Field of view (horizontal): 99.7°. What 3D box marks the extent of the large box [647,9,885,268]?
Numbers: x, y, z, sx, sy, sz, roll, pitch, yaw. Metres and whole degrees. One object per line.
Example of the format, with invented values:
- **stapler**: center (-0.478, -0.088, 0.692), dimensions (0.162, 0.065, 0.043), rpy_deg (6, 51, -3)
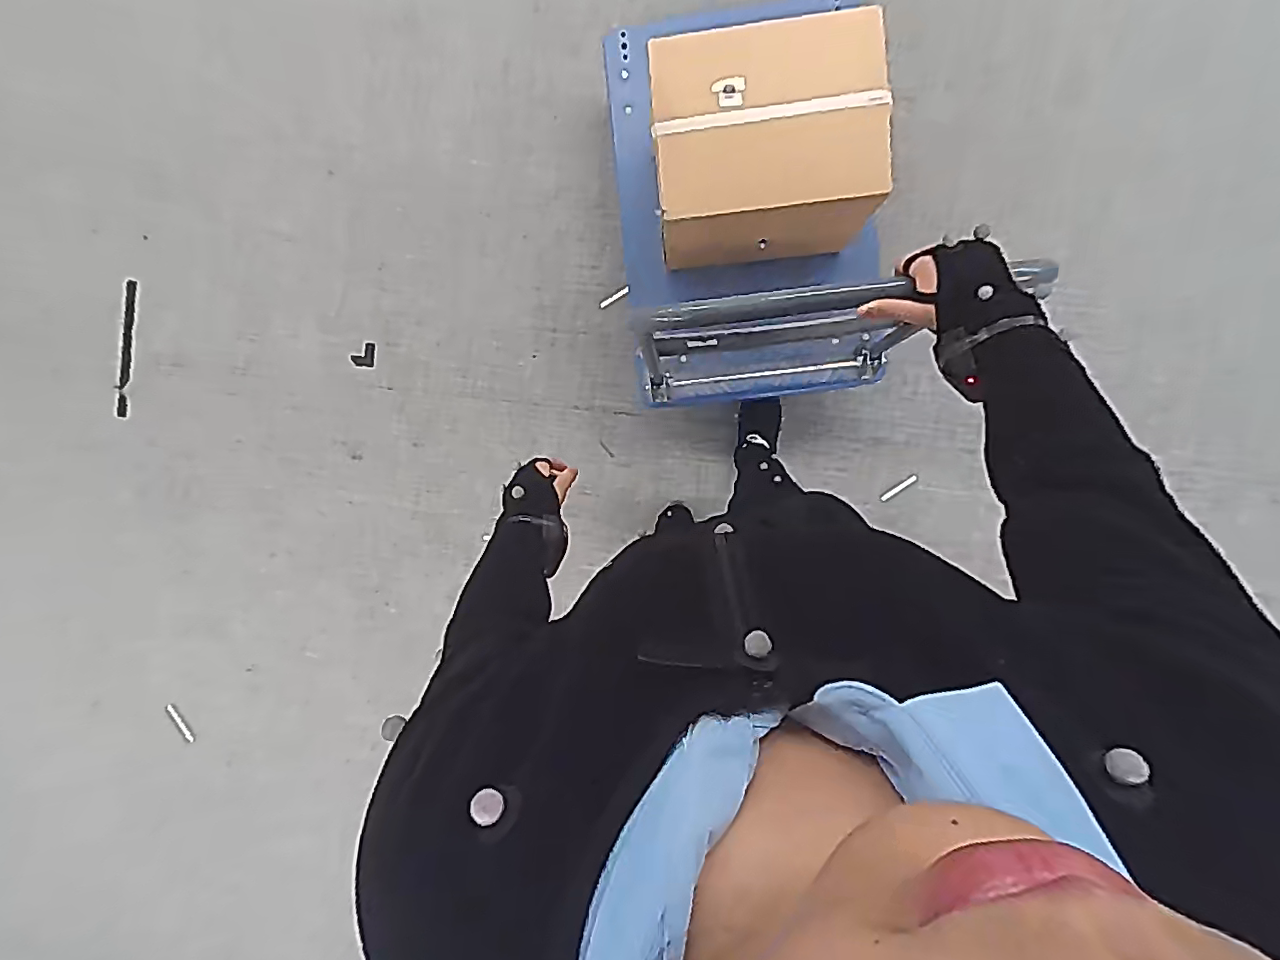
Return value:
- **large box**: center (0.241, -0.661, 1.116), dimensions (0.408, 0.320, 0.320), rpy_deg (-5, 93, 6)
